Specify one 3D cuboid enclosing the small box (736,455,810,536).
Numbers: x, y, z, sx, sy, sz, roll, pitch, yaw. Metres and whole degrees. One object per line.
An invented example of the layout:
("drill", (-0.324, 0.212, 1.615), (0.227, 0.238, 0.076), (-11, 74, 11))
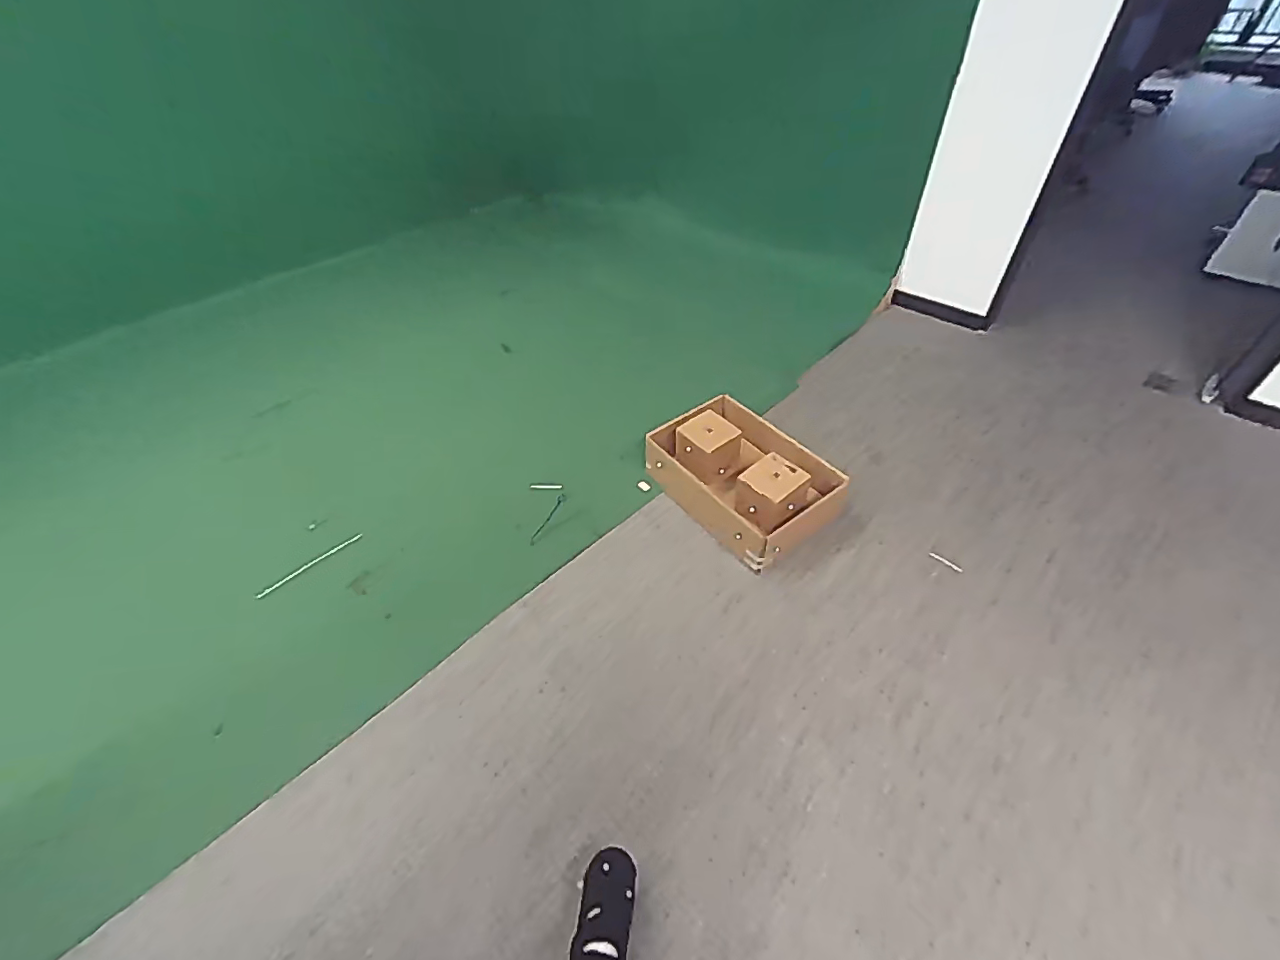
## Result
("small box", (0.437, 0.056, 1.803), (0.179, 0.176, 0.168), (-33, 53, -24))
